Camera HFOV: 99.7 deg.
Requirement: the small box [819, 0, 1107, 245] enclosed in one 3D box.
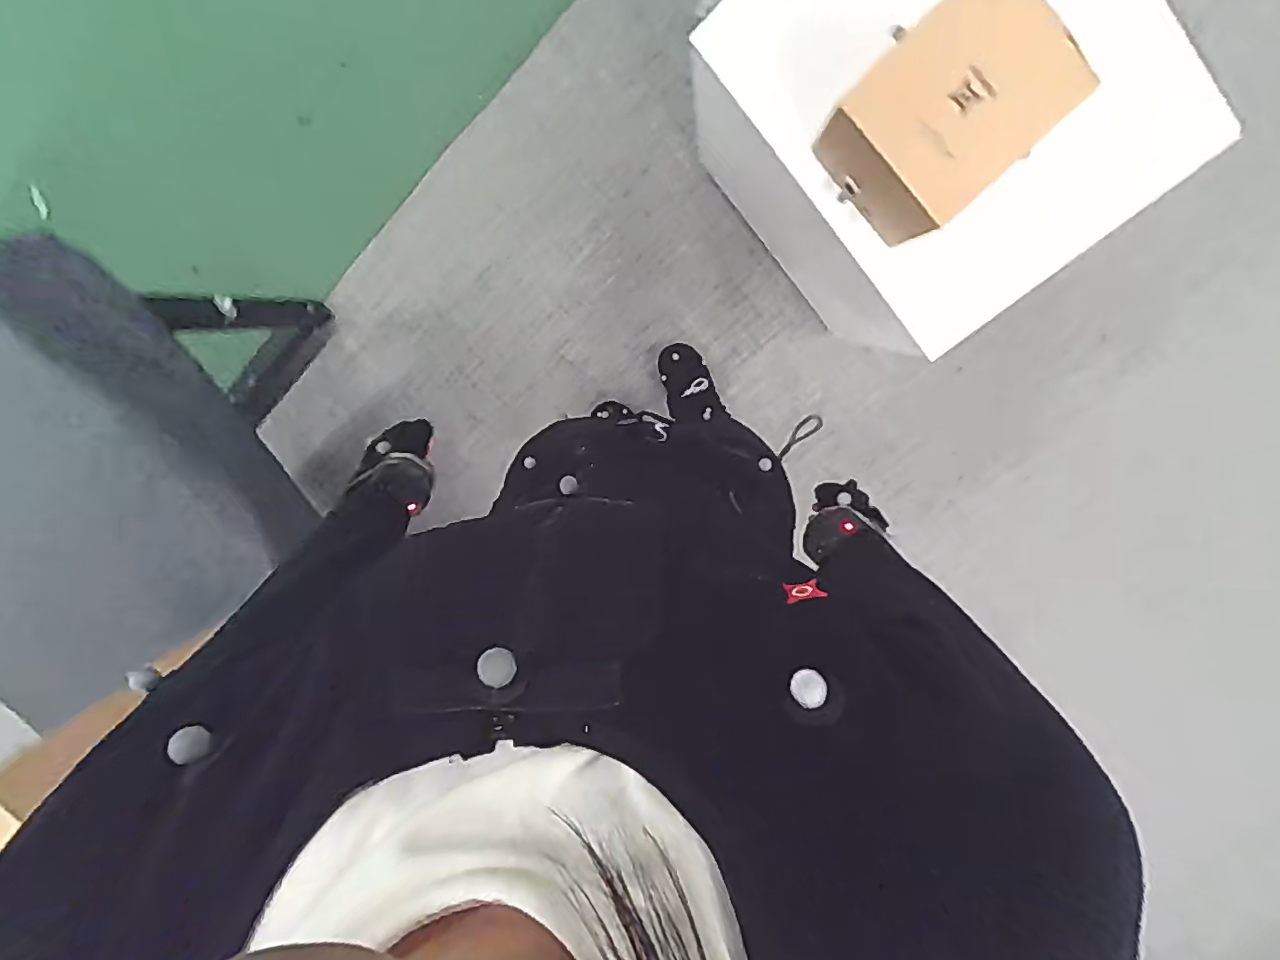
[{"bbox_3d":[0.316,-0.381,0.576,0.179,0.176,0.168,-42,96,18],"label":"small box"}]
